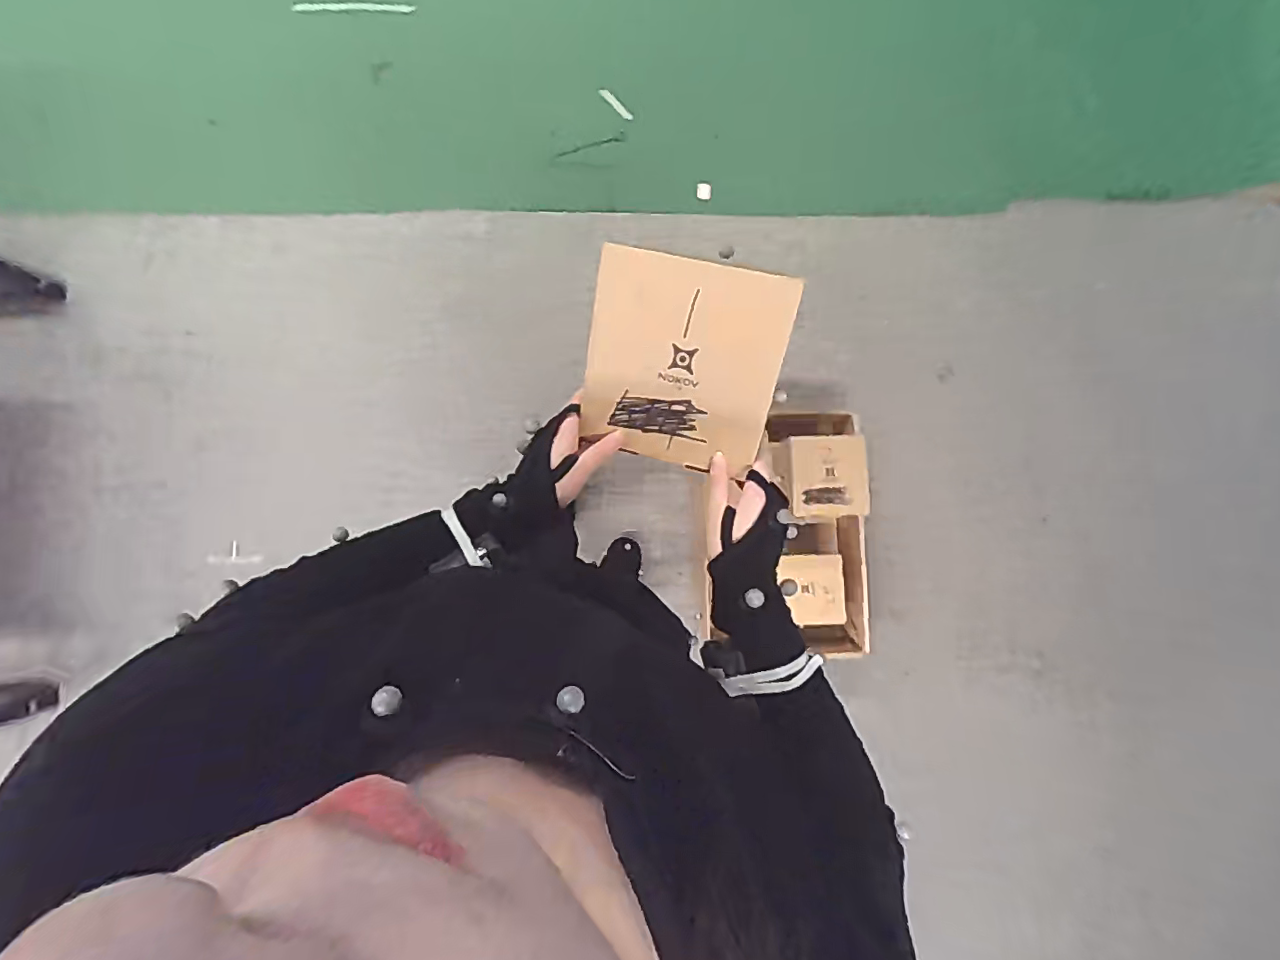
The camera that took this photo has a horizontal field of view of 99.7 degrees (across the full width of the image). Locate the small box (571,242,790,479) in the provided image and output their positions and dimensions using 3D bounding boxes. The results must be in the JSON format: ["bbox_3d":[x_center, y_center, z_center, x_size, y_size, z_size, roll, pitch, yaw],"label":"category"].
[{"bbox_3d":[0.044,-0.126,0.535,0.168,0.176,0.179,14,114,8],"label":"small box"}]

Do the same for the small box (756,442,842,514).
[{"bbox_3d":[0.406,0.000,1.407,0.179,0.176,0.168,4,86,-1],"label":"small box"}]

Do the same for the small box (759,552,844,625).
[{"bbox_3d":[0.404,0.273,1.383,0.179,0.176,0.168,0,85,0],"label":"small box"}]
